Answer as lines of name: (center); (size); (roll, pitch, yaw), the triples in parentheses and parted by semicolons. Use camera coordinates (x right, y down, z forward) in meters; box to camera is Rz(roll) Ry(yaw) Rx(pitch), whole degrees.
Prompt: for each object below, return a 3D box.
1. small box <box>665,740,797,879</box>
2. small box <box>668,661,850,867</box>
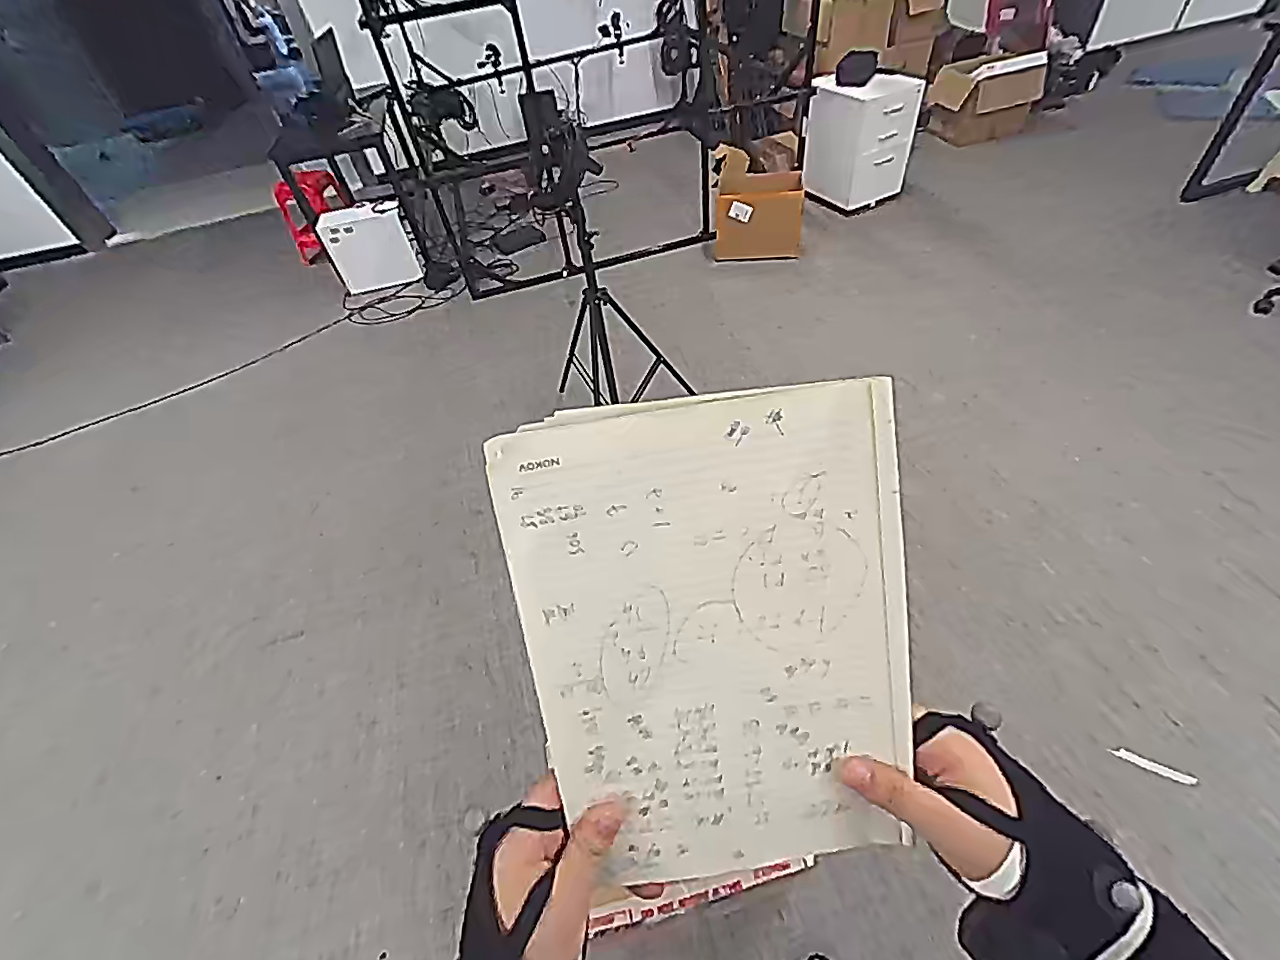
small box: (0.146, 0.475, 0.820); (0.179, 0.176, 0.168); (-17, 49, -8)
small box: (0.137, 0.366, 0.696); (0.168, 0.176, 0.179); (-14, 50, -6)
